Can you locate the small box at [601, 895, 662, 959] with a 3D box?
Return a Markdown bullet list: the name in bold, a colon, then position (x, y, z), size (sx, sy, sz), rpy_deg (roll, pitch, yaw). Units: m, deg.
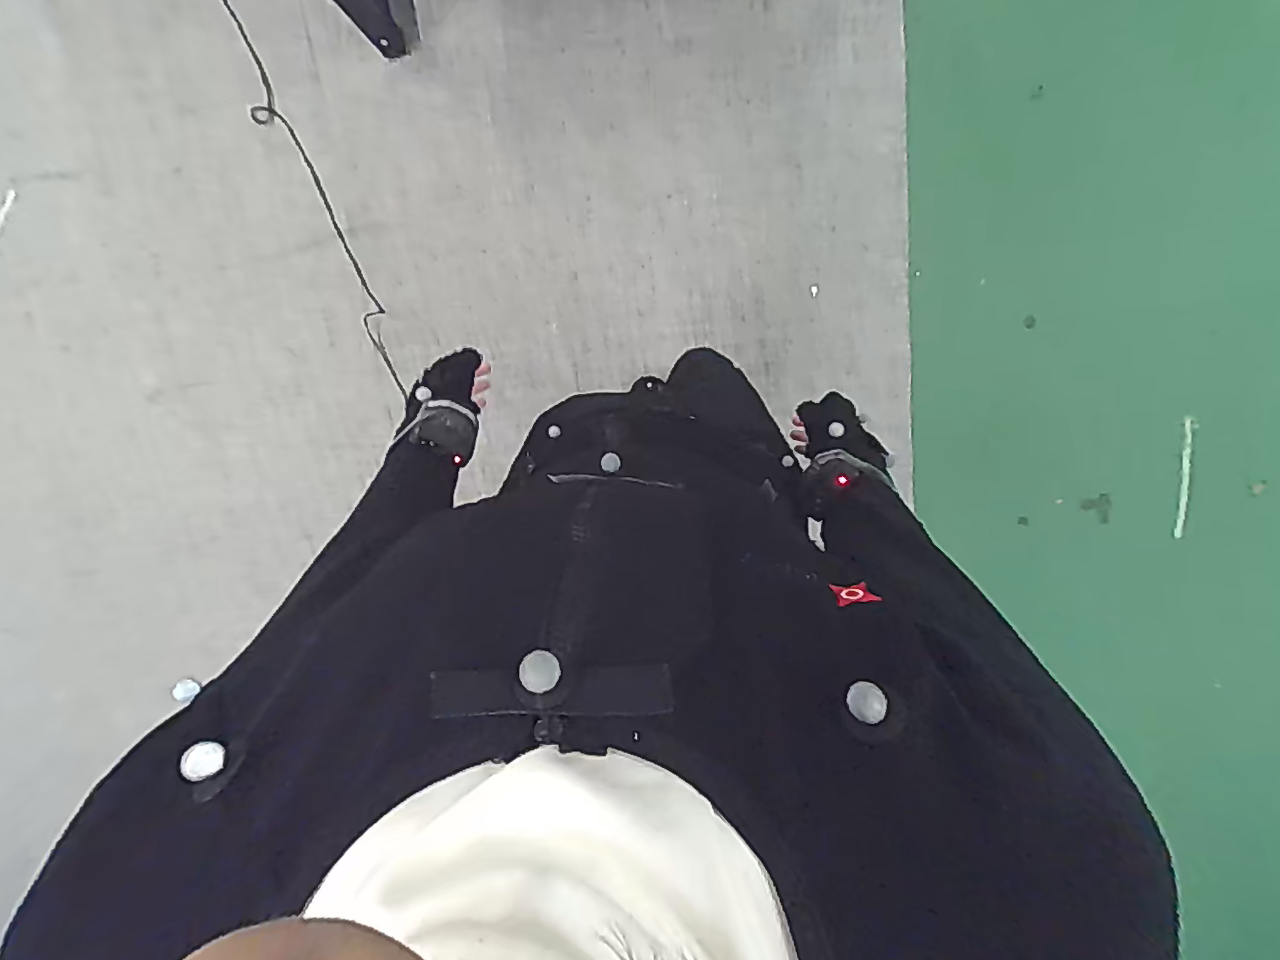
- **small box**: position (-0.021, 1.423, 1.667), size (0.179, 0.176, 0.168), rpy_deg (-3, 102, 4)
